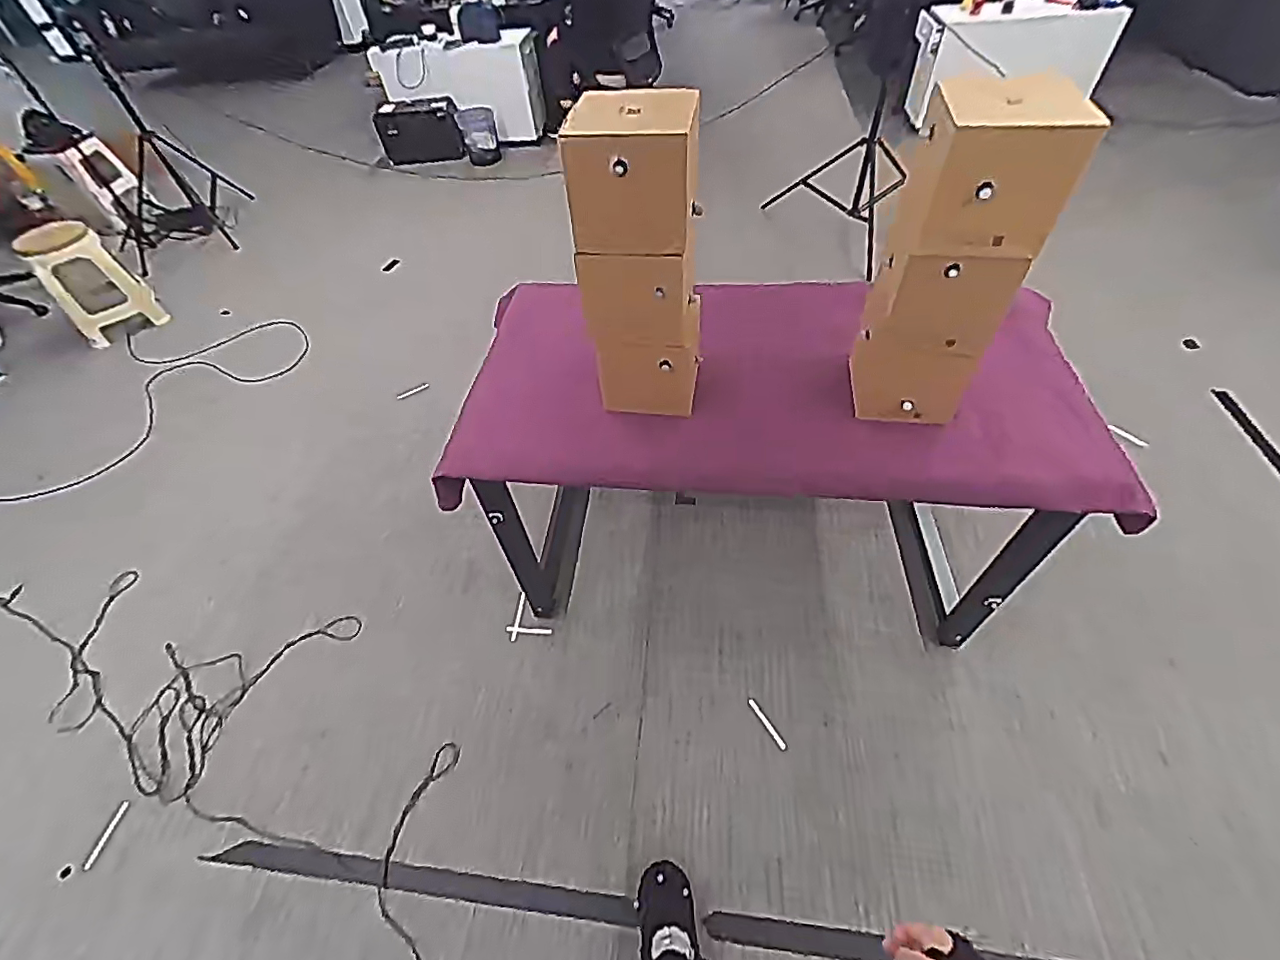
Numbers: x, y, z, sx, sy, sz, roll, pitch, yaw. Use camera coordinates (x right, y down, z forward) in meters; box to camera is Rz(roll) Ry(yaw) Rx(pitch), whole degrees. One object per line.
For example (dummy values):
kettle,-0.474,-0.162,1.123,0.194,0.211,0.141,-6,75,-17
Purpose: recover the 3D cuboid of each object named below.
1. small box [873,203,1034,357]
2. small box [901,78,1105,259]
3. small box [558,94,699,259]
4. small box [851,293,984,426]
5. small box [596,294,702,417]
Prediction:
small box,0.486,-0.323,0.872,0.168,0.176,0.179,6,51,10
small box,0.474,-0.421,0.742,0.168,0.176,0.179,6,51,10
small box,-0.007,-0.449,0.807,0.179,0.176,0.168,5,52,7
small box,0.498,-0.223,1.001,0.168,0.176,0.179,4,52,9
small box,0.024,-0.240,1.057,0.179,0.176,0.168,5,51,9
